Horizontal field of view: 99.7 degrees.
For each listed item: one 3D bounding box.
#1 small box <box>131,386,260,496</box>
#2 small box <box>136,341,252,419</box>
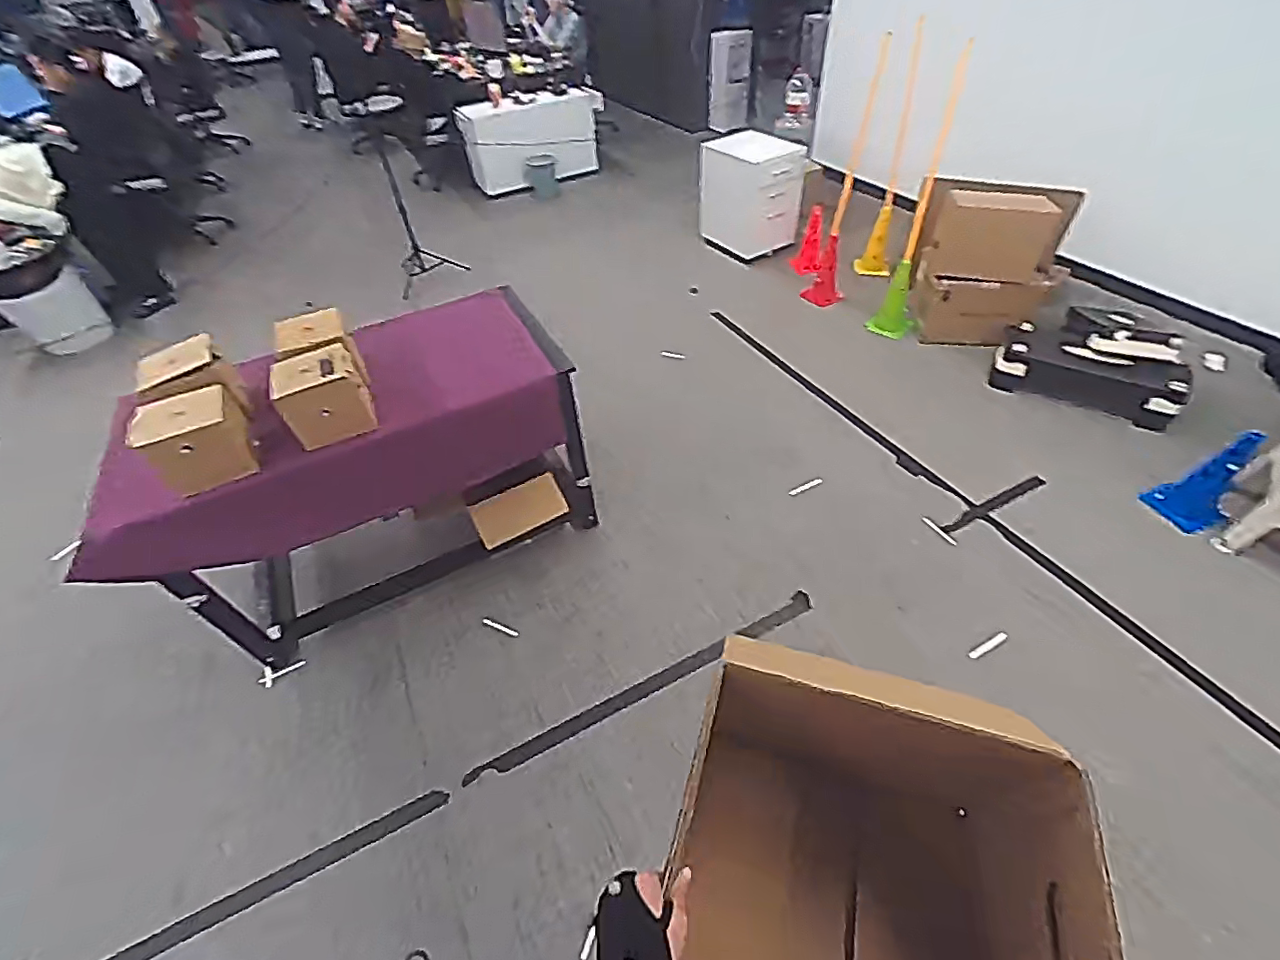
[{"bbox_3d":[-1.045,-0.090,1.286,0.179,0.176,0.168,-23,50,-17],"label":"small box"},{"bbox_3d":[-1.172,-0.235,1.432,0.179,0.176,0.168,-25,50,-19],"label":"small box"}]
